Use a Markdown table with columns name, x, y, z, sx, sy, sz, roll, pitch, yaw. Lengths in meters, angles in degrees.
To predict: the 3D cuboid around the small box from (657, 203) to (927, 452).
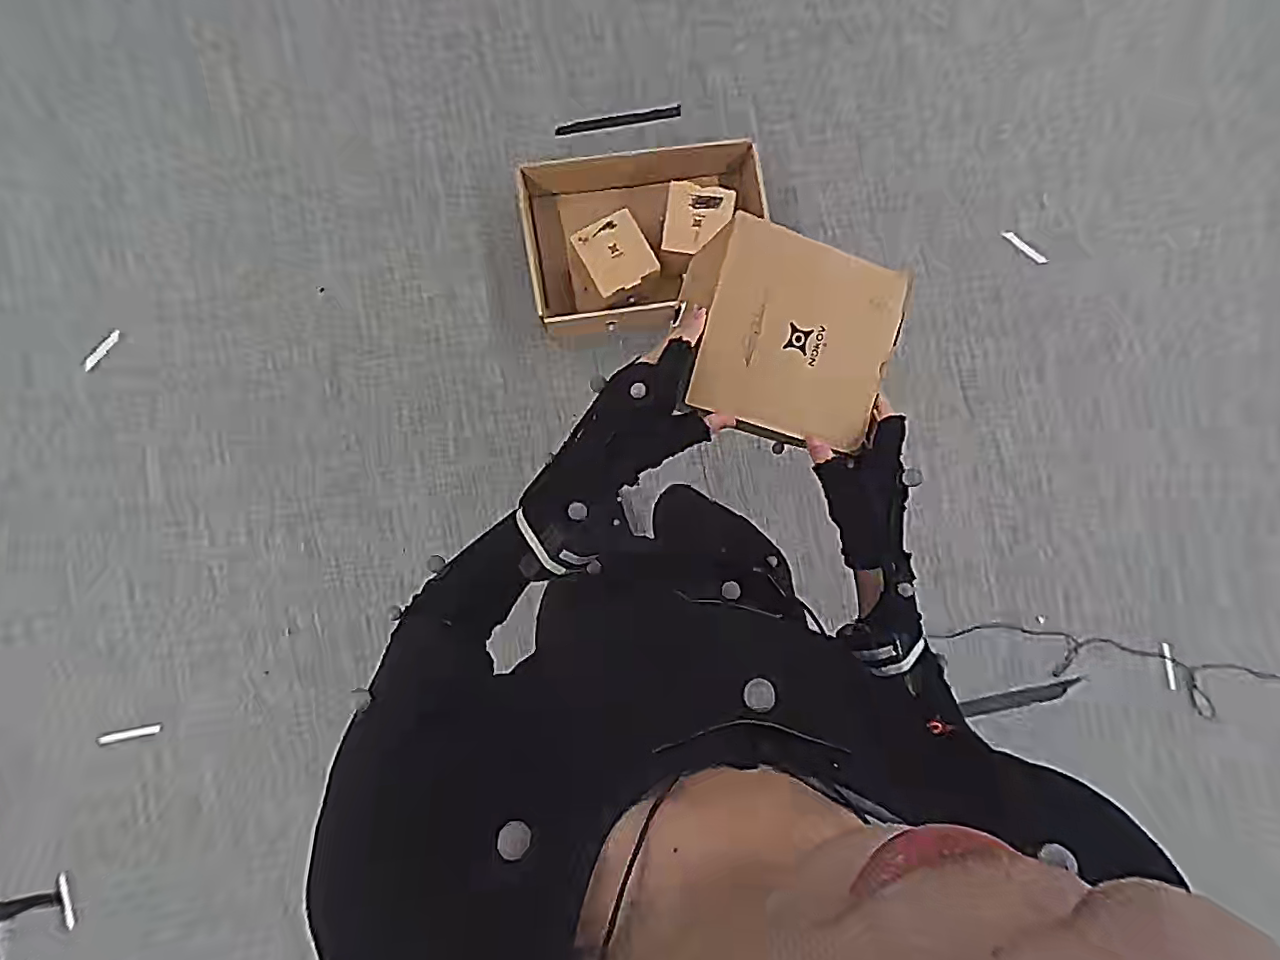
| name | x | y | z | sx | sy | sz | roll | pitch | yaw |
| --- | --- | --- | --- | --- | --- | --- | --- | --- | --- |
| small box | 0.132 | -0.134 | 0.534 | 0.179 | 0.176 | 0.168 | 15 | 94 | -11 |
